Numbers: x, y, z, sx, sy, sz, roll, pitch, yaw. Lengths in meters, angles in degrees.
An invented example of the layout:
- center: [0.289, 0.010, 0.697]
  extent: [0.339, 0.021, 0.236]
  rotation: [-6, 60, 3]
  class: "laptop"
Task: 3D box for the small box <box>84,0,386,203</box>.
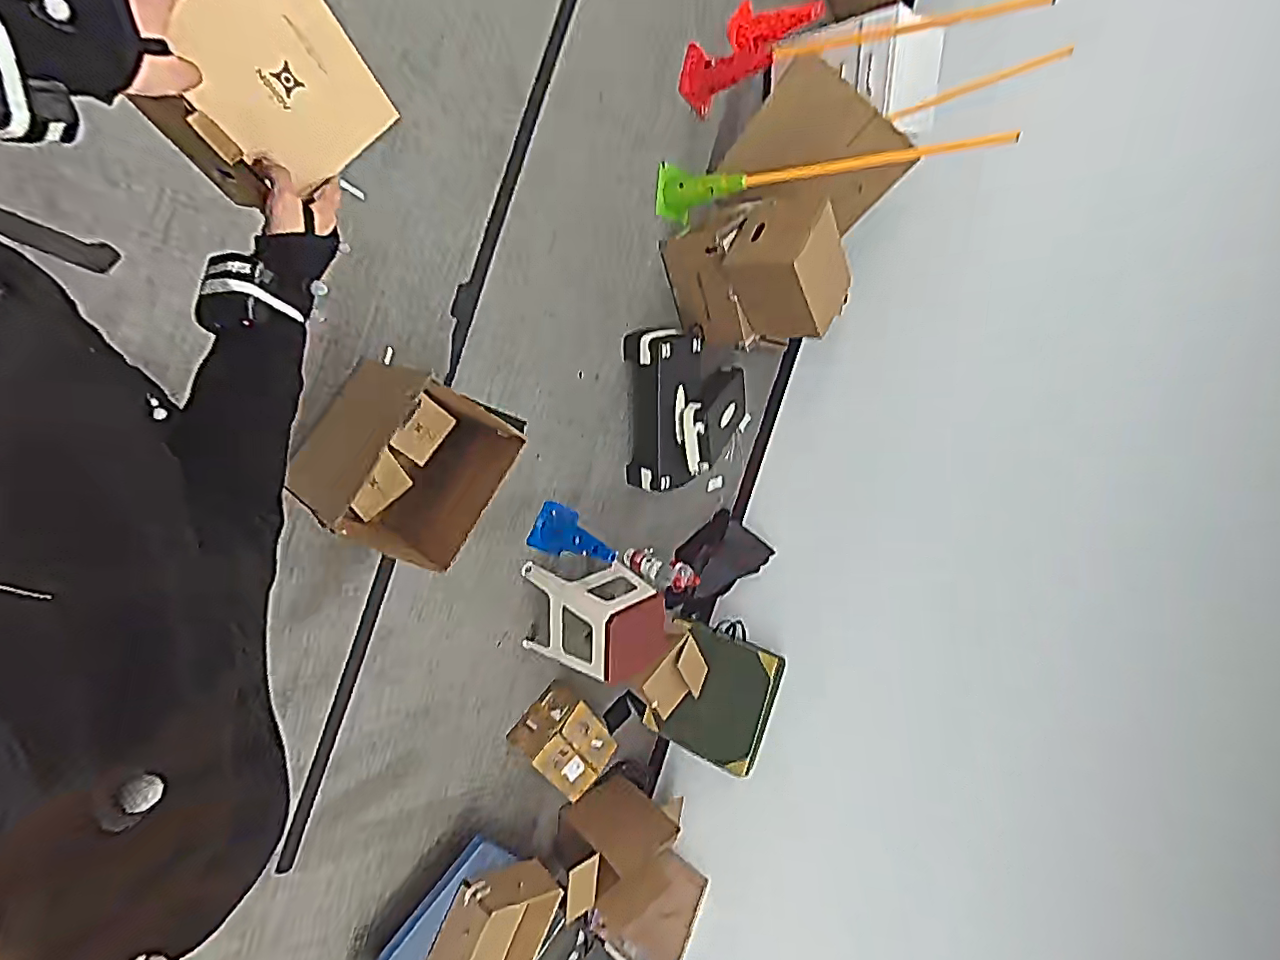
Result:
- center: [-0.419, -0.419, 0.565]
  extent: [0.179, 0.176, 0.168]
  rotation: [-56, 145, -16]
  class: "small box"
